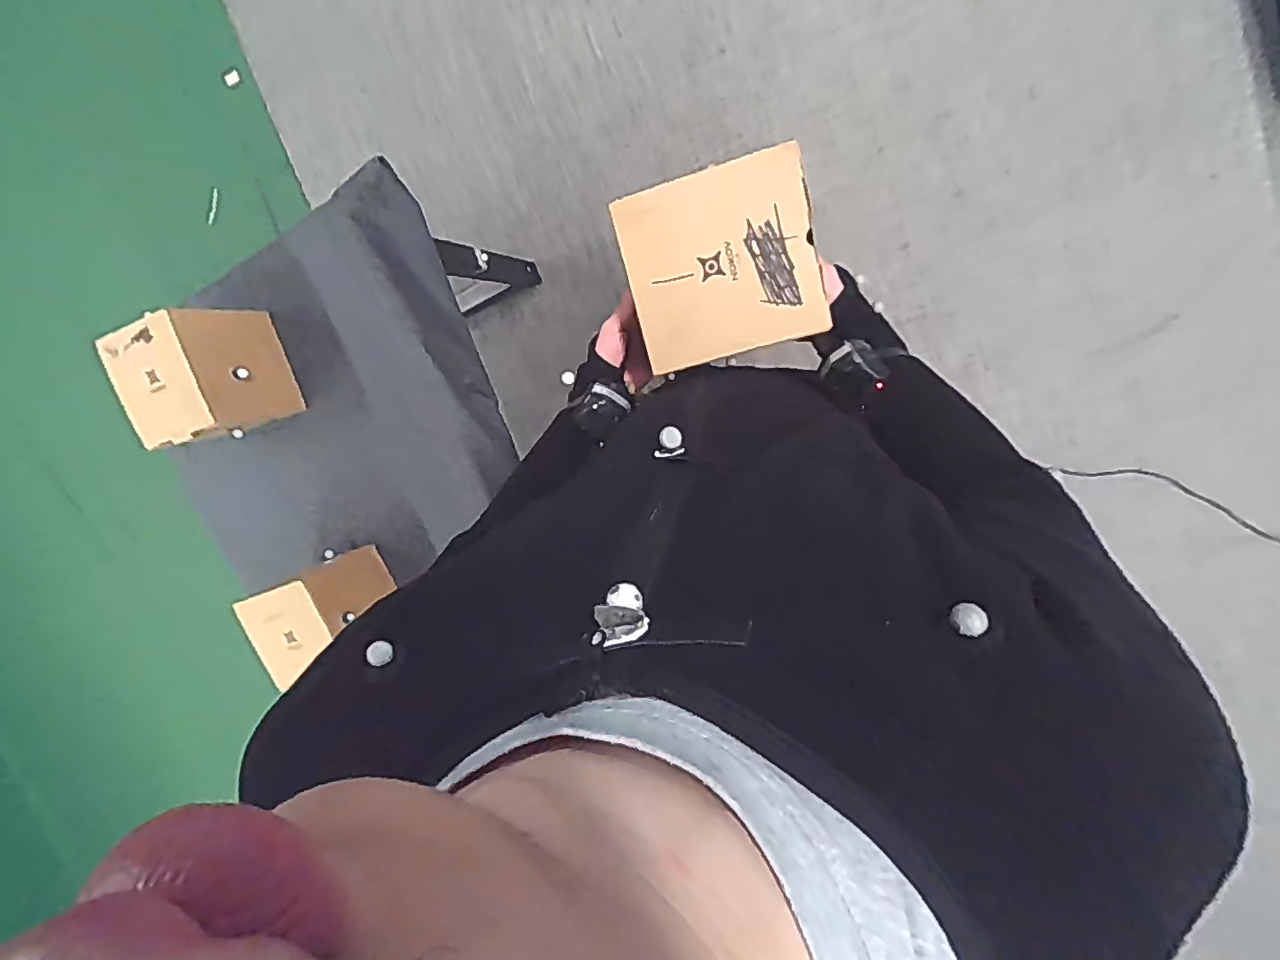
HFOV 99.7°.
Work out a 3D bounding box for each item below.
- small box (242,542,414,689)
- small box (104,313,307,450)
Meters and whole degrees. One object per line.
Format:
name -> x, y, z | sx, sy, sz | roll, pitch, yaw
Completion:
small box -> -0.541, 0.235, 0.963 | 0.168, 0.176, 0.179 | -20, 98, 18
small box -> -0.695, -0.167, 0.887 | 0.168, 0.176, 0.179 | -13, 102, 17
